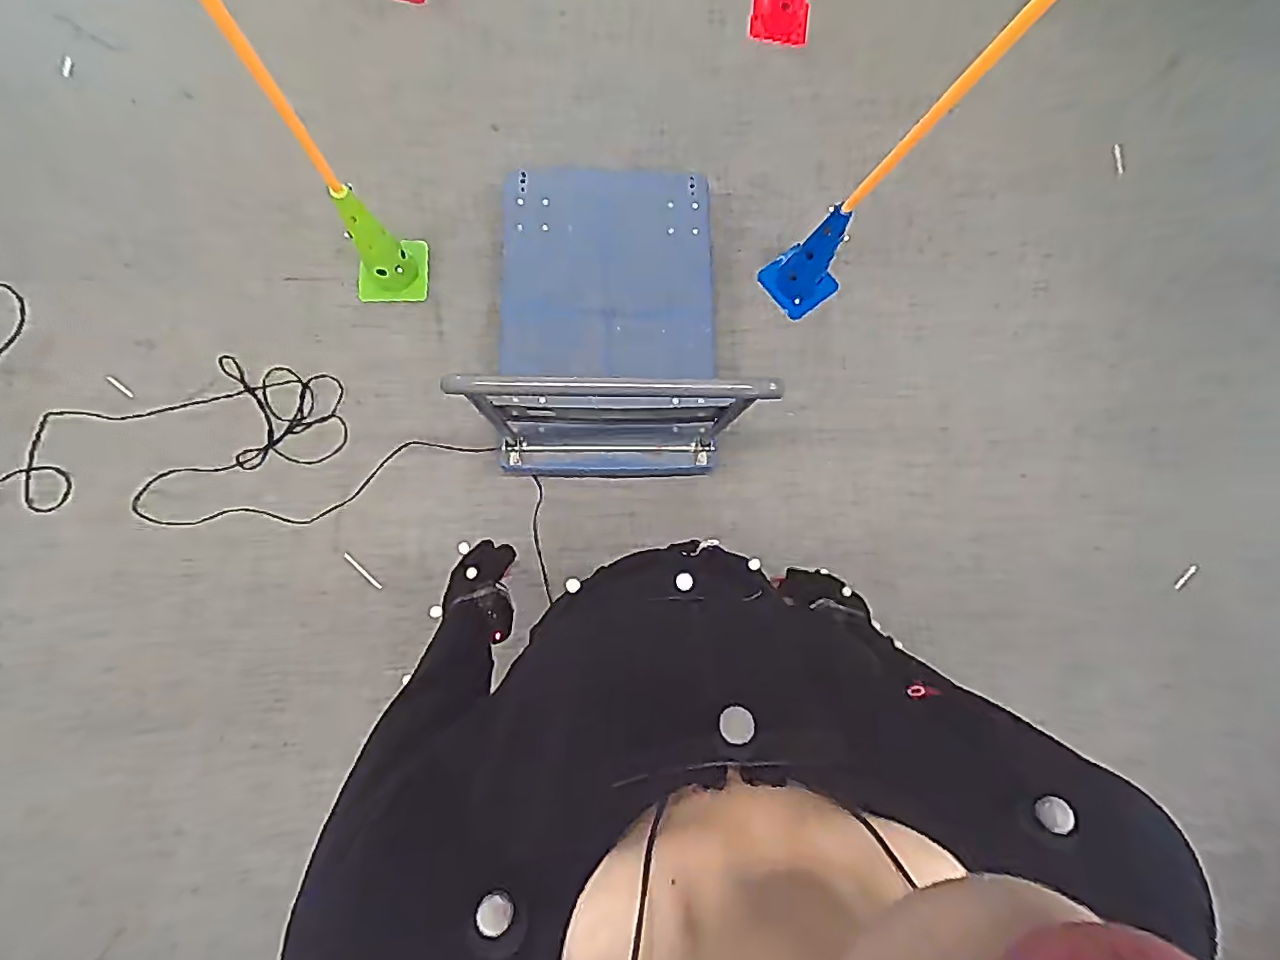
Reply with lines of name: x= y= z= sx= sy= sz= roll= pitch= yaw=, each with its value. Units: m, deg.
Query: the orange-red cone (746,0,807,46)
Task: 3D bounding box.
orange-red cone: x=0.481 y=-1.625 z=1.702 sx=0.198 sy=0.360 sz=0.199 roll=10 pitch=80 yaw=-1
